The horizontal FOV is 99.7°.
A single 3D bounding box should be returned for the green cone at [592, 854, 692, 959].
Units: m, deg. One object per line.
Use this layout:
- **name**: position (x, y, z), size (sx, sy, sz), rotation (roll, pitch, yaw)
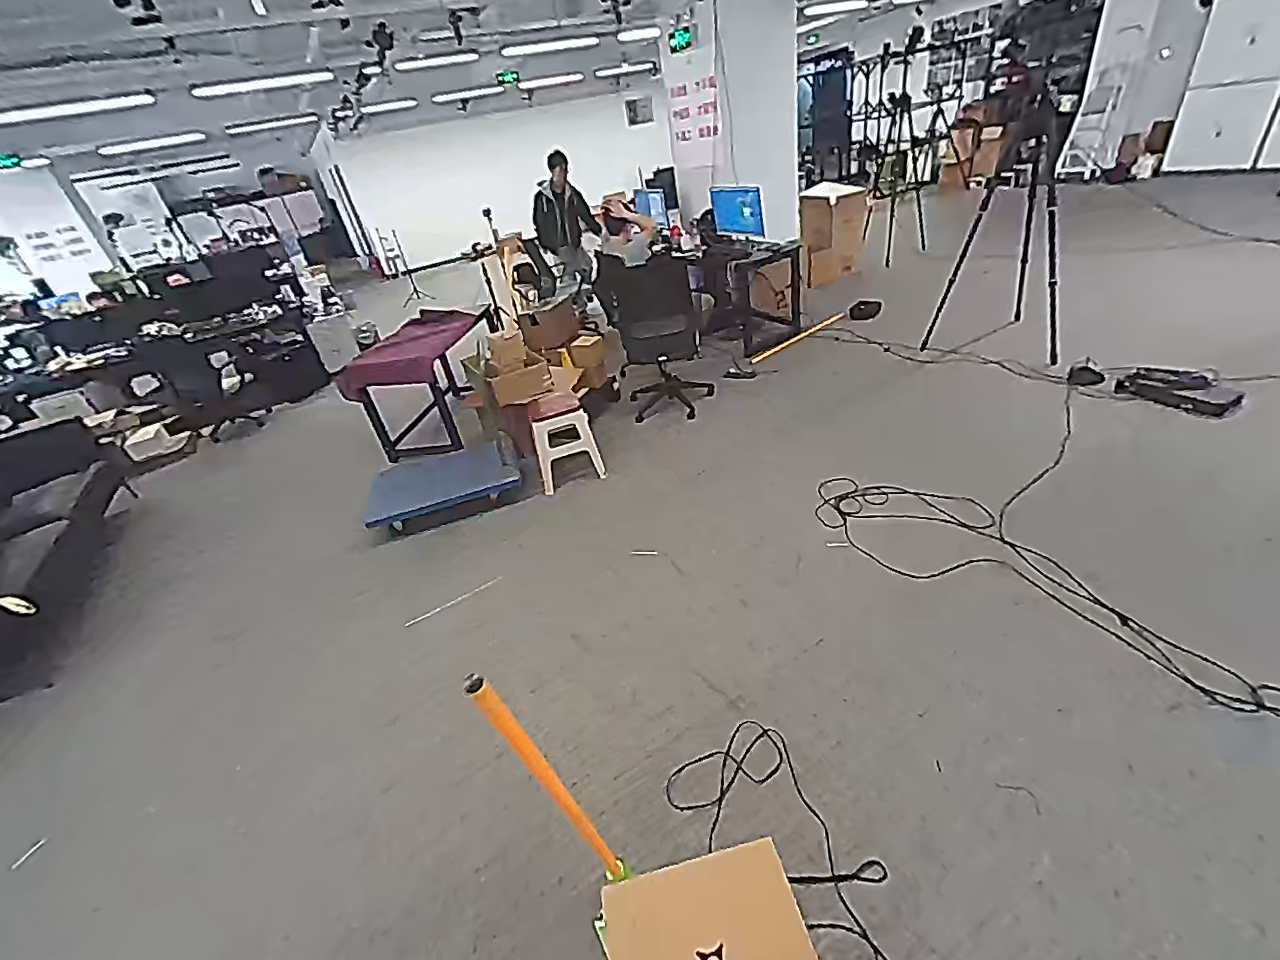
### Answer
- **green cone**: position (-0.024, 0.974, 1.245), size (0.202, 0.368, 0.200), rotation (-23, 35, -20)
